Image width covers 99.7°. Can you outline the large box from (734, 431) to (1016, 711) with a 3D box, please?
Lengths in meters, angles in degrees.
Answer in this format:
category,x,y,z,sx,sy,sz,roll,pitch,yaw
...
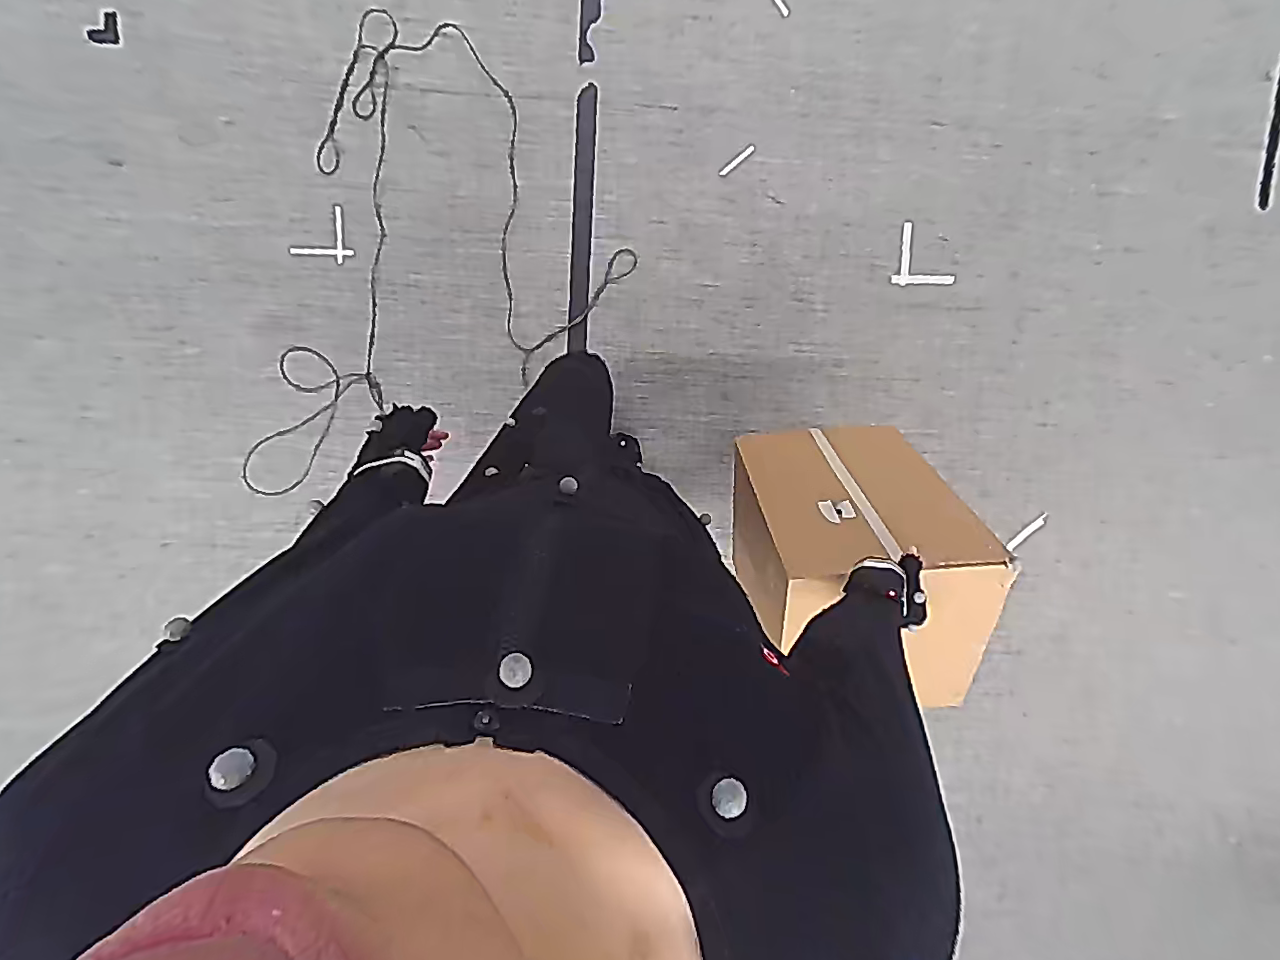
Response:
category,x,y,z,sx,sy,sz,roll,pitch,yaw
large box,0.365,0.147,0.988,0.320,0.408,0.320,-5,124,1
